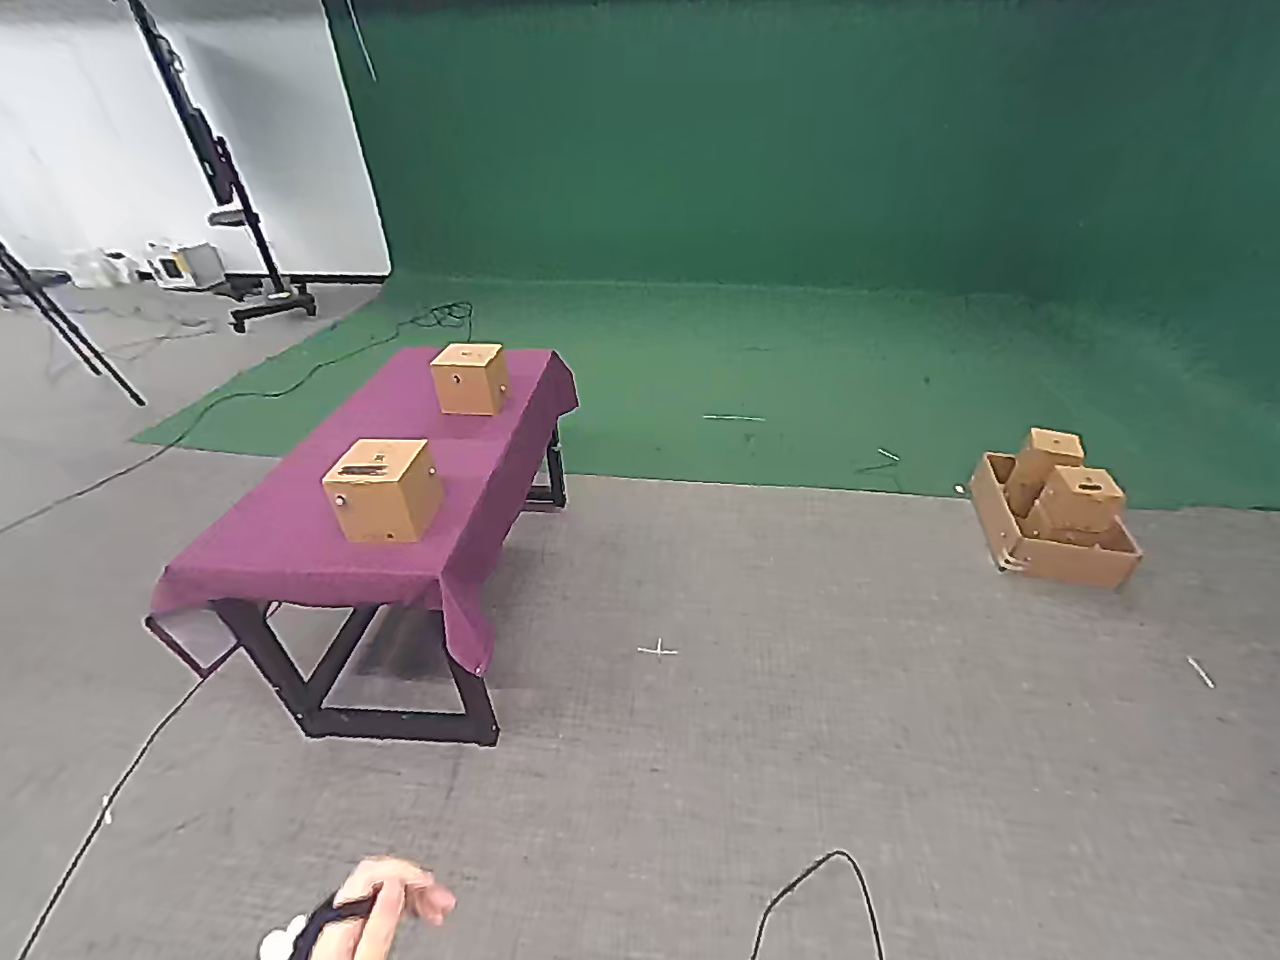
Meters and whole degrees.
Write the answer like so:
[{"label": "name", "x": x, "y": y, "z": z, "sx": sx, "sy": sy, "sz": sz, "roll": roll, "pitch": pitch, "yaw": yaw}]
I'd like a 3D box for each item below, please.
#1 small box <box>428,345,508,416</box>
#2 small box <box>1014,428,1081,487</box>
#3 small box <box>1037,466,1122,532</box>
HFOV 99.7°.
[{"label": "small box", "x": -0.533, "y": -0.312, "z": 1.702, "sx": 0.179, "sy": 0.176, "sz": 0.168, "roll": 3, "pitch": 37, "yaw": 6}, {"label": "small box", "x": 1.664, "y": -0.086, "z": 2.219, "sx": 0.168, "sy": 0.176, "sz": 0.179, "roll": 15, "pitch": 41, "yaw": 21}, {"label": "small box", "x": 1.618, "y": 0.072, "z": 2.002, "sx": 0.168, "sy": 0.176, "sz": 0.179, "roll": 7, "pitch": 35, "yaw": 13}]
